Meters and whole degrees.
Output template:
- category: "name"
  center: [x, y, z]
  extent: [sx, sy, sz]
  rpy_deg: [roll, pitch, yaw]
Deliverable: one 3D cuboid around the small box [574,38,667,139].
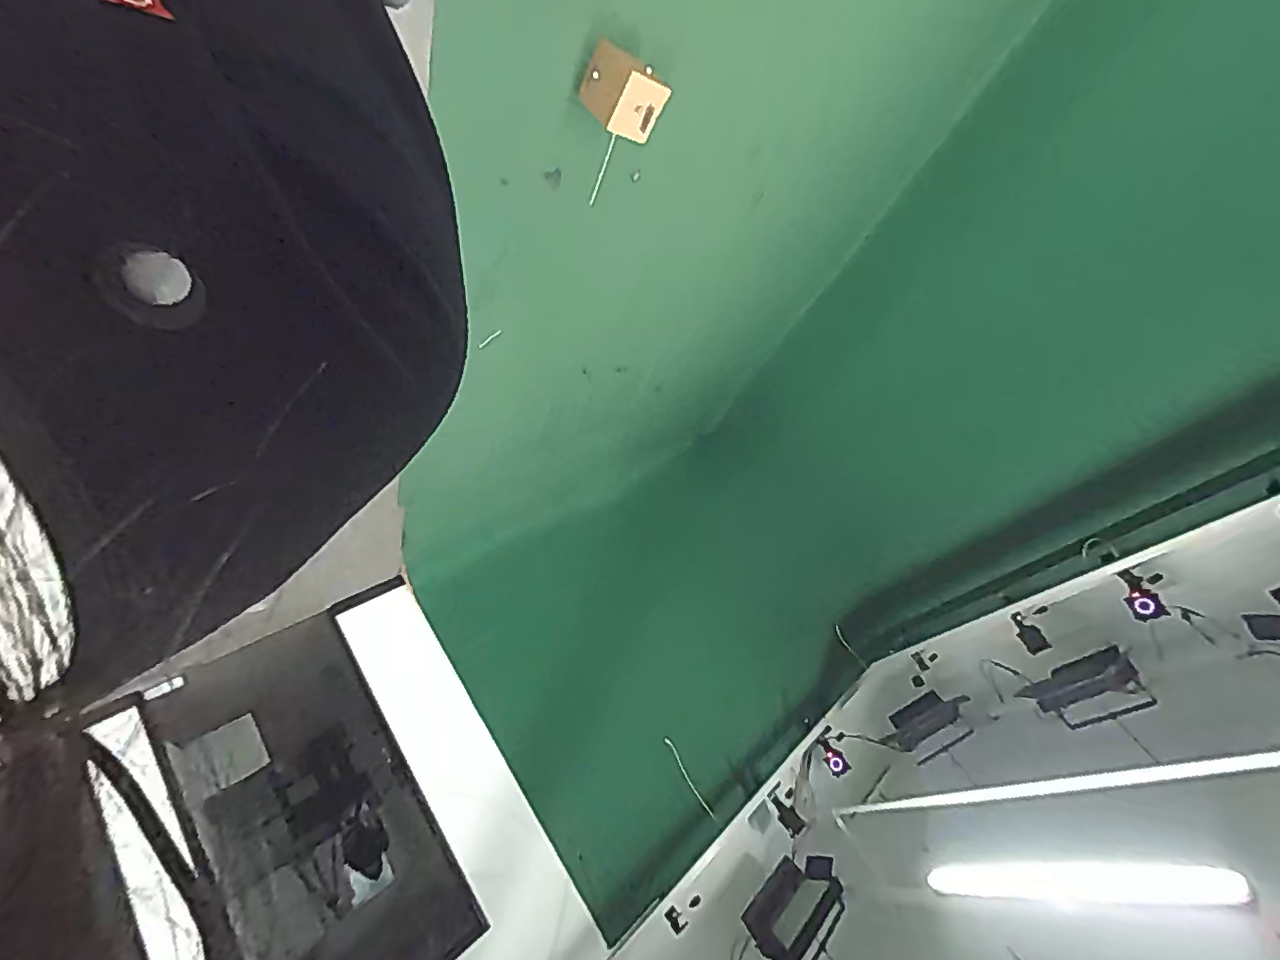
- category: "small box"
  center: [-0.061, -1.163, 1.609]
  extent: [0.179, 0.176, 0.168]
  rpy_deg: [-17, 155, -47]
